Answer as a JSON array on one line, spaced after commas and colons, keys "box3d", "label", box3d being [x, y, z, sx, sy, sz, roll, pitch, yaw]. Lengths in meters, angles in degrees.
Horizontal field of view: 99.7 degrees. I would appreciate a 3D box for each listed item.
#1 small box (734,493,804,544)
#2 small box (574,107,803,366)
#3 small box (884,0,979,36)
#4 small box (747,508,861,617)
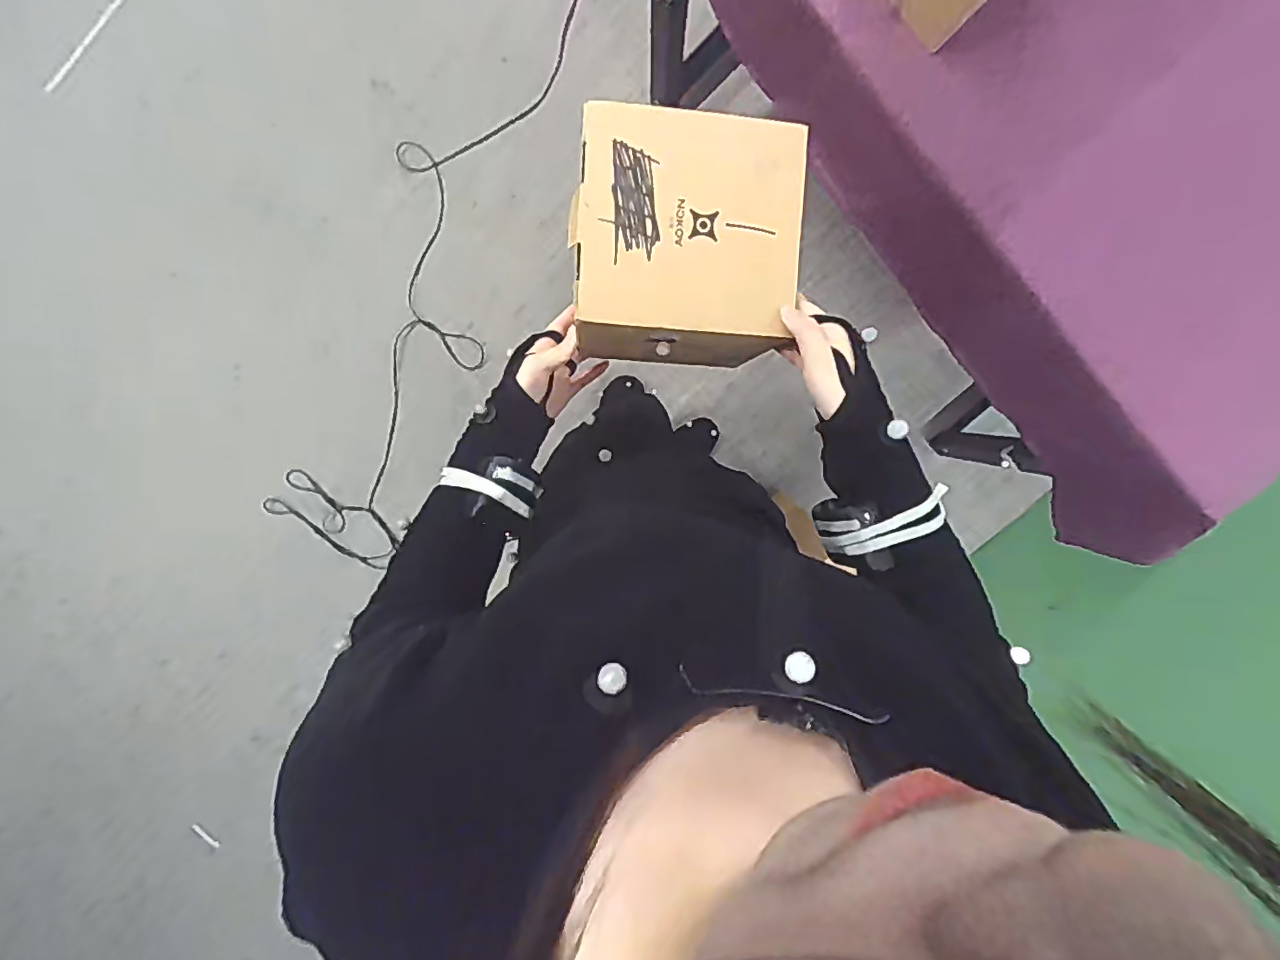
[{"box3d": [0.371, 0.149, 1.433, 0.168, 0.176, 0.179, -38, 98, 6], "label": "small box"}, {"box3d": [0.031, -0.202, 0.501, 0.179, 0.176, 0.168, 2, 94, -7], "label": "small box"}, {"box3d": [0.352, -0.627, 0.570, 0.168, 0.176, 0.179, -44, 97, 6], "label": "small box"}, {"box3d": [0.375, 0.183, 1.274, 0.168, 0.176, 0.179, -41, 98, 7], "label": "small box"}]
